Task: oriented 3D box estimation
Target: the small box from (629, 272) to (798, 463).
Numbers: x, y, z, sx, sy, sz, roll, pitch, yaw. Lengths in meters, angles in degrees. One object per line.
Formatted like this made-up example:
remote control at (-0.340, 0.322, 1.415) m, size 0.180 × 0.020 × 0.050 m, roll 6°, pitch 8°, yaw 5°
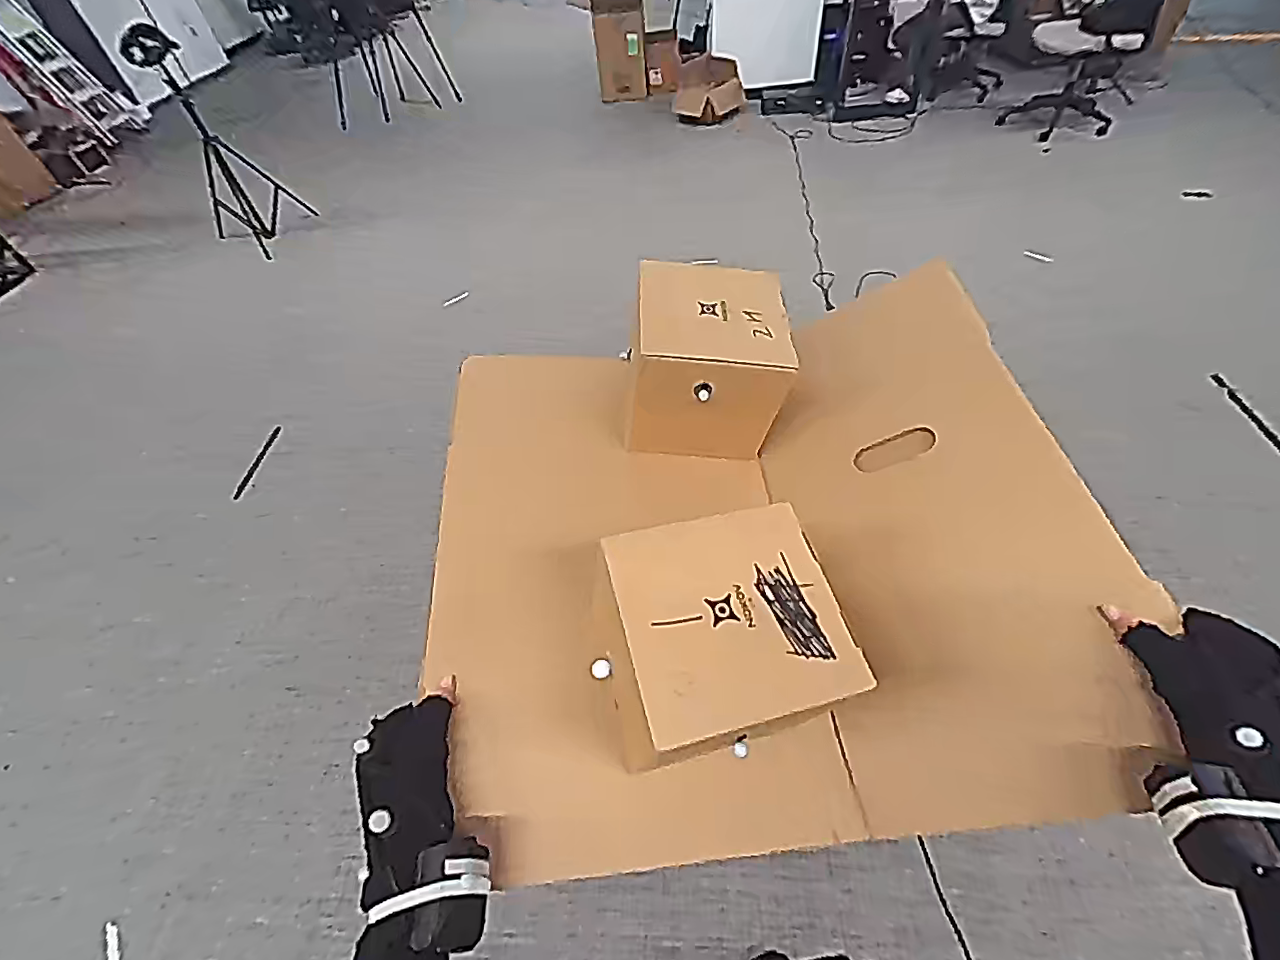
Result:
small box at (0.080, -0.137, 0.692) m, size 0.179 × 0.176 × 0.168 m, roll 5°, pitch 56°, yaw -6°

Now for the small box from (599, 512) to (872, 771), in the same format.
small box at (0.066, 0.151, 0.496) m, size 0.179 × 0.176 × 0.168 m, roll -9°, pitch 58°, yaw -13°
